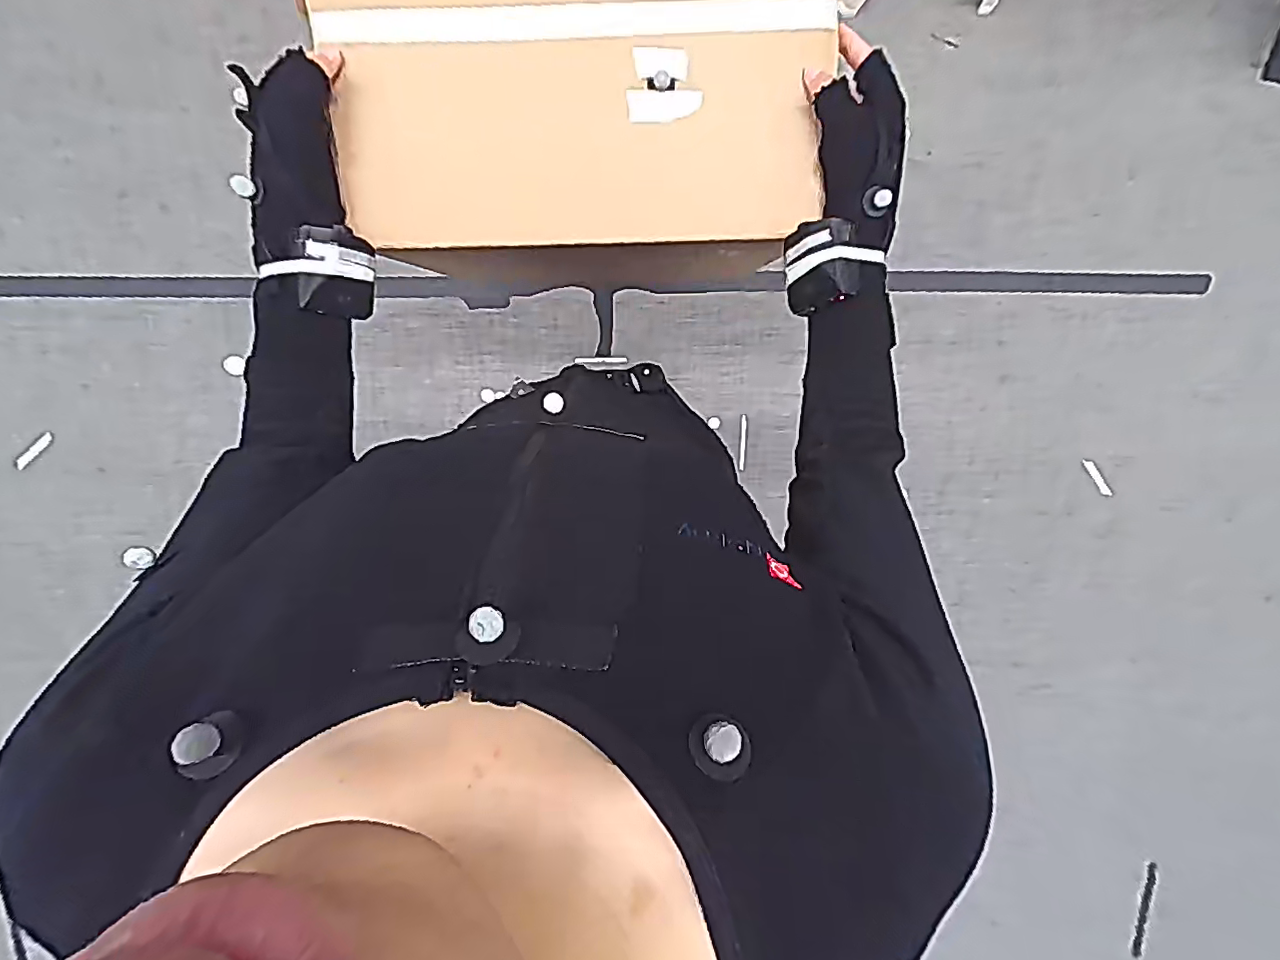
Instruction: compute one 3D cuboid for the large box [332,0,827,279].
[{"bbox_3d":[-0.050,-0.401,0.580,0.408,0.320,0.320,-2,106,-1],"label":"large box"}]
